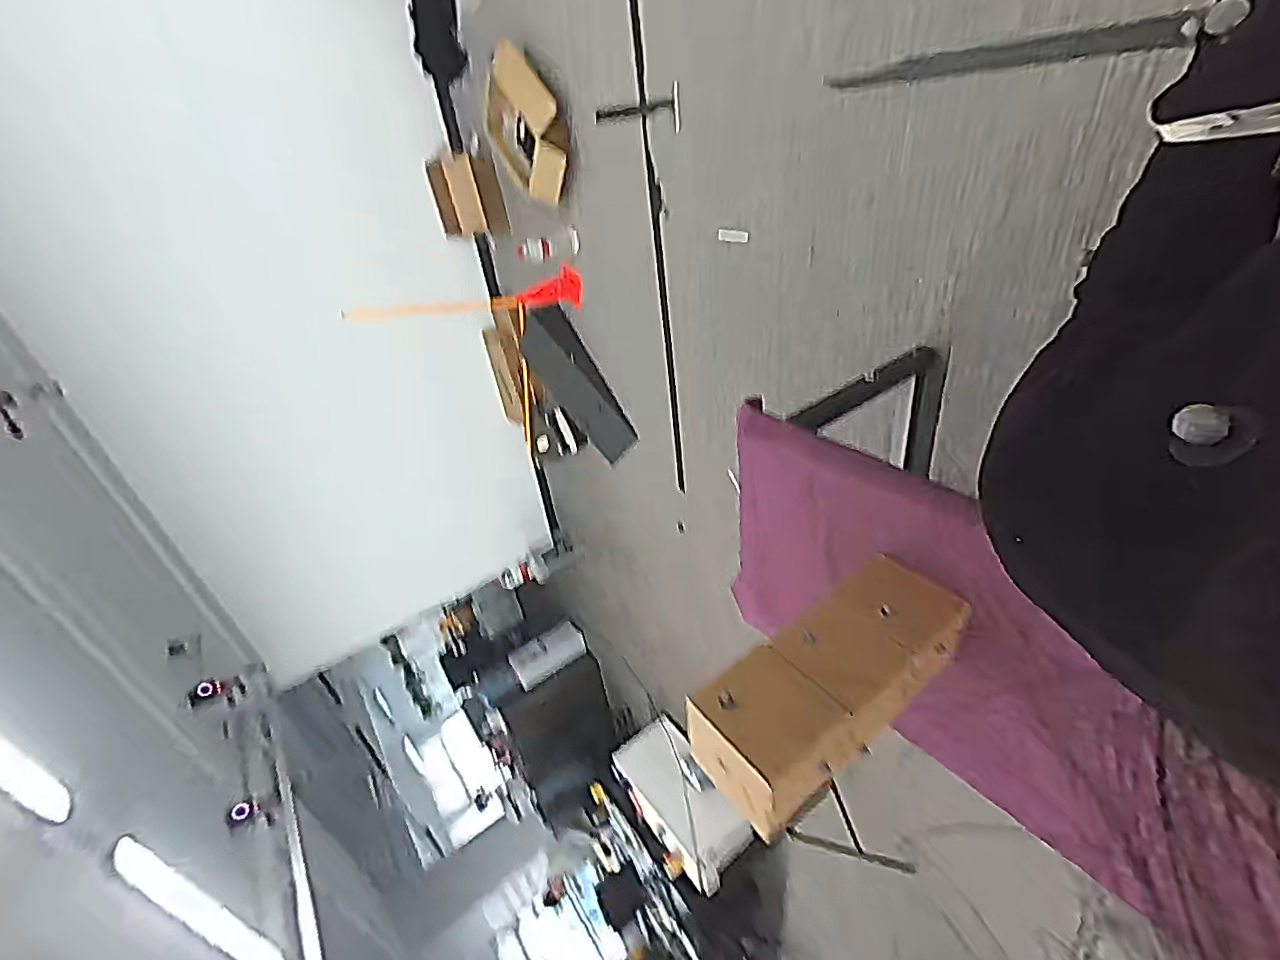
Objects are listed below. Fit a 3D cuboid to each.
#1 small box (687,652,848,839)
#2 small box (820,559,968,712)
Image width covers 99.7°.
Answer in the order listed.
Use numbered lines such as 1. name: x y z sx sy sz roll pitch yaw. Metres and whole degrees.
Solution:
1. small box: 0.194 0.400 0.849 0.179 0.176 0.168 33 141 44
2. small box: 0.463 0.275 0.993 0.179 0.176 0.168 35 141 44
